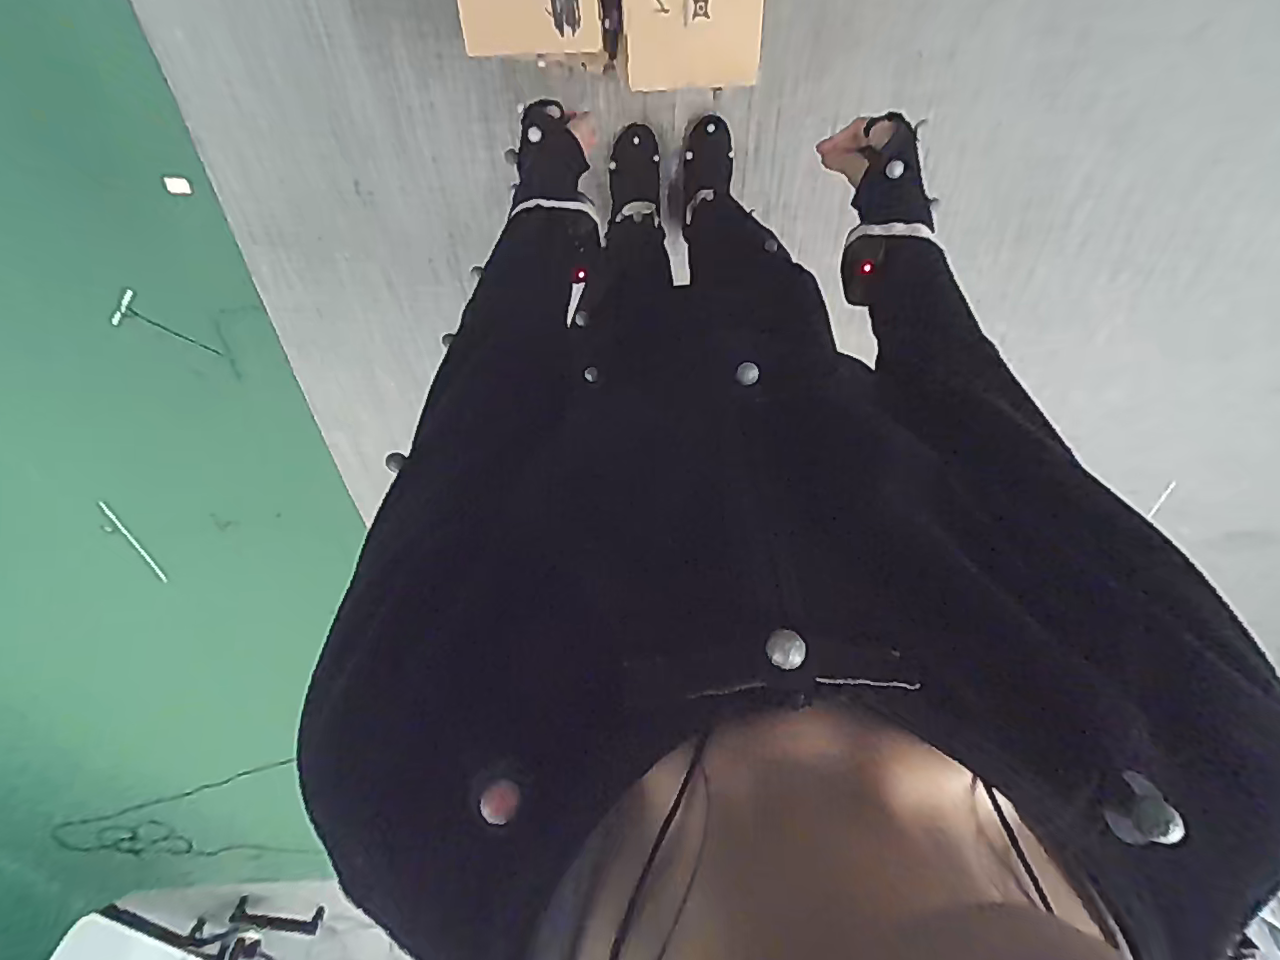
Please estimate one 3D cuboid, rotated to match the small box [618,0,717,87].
[{"bbox_3d":[0.045,-0.830,0.988,0.168,0.176,0.179,-2,129,-1],"label":"small box"}]
